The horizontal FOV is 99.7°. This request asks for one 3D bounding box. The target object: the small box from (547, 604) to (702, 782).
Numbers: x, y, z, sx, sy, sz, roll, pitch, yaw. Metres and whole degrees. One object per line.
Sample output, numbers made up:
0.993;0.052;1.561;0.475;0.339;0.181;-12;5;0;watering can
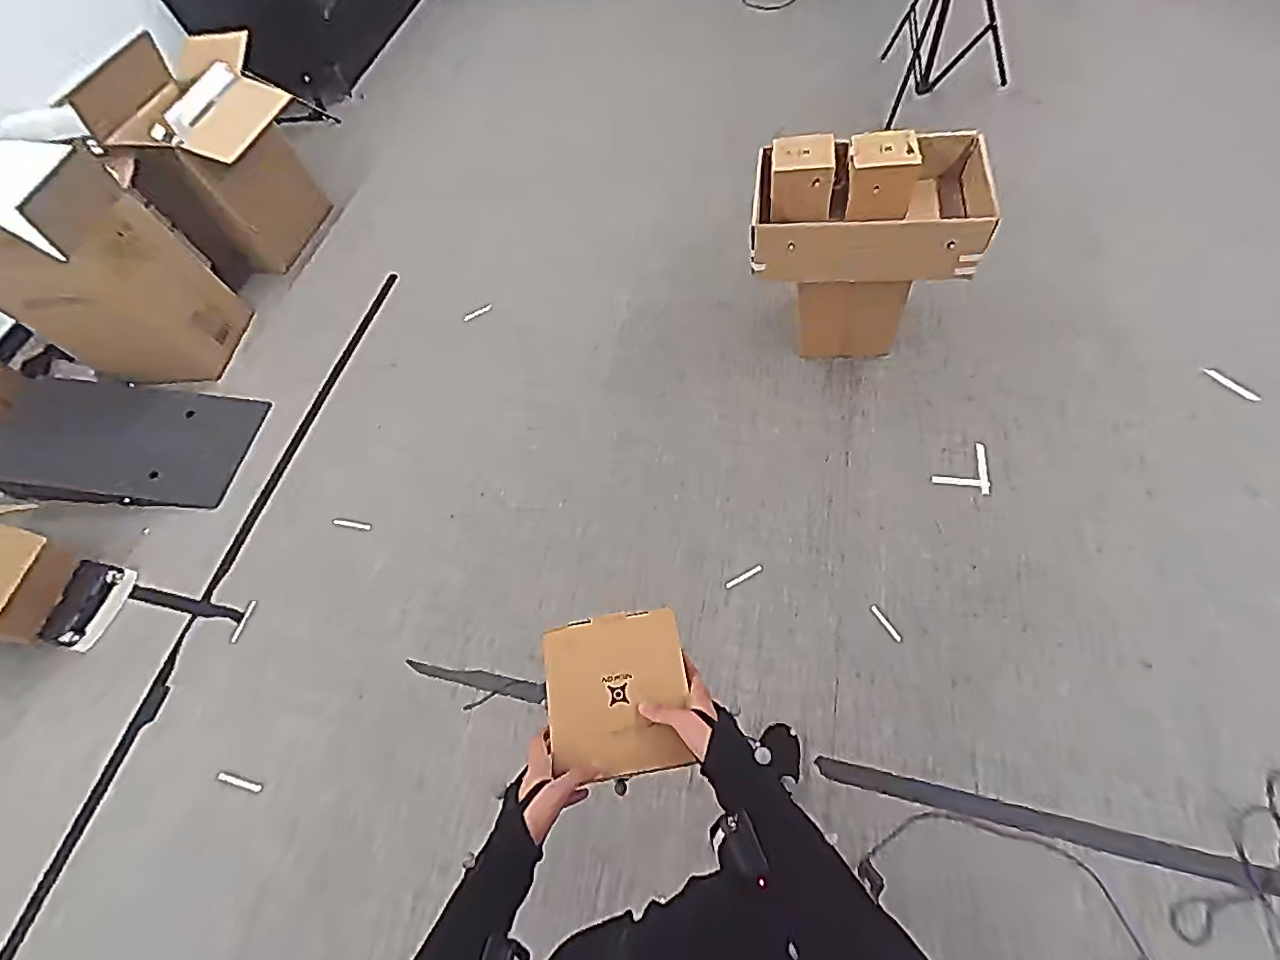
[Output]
-0.022;0.278;0.695;0.168;0.176;0.179;-8;61;-2;small box
